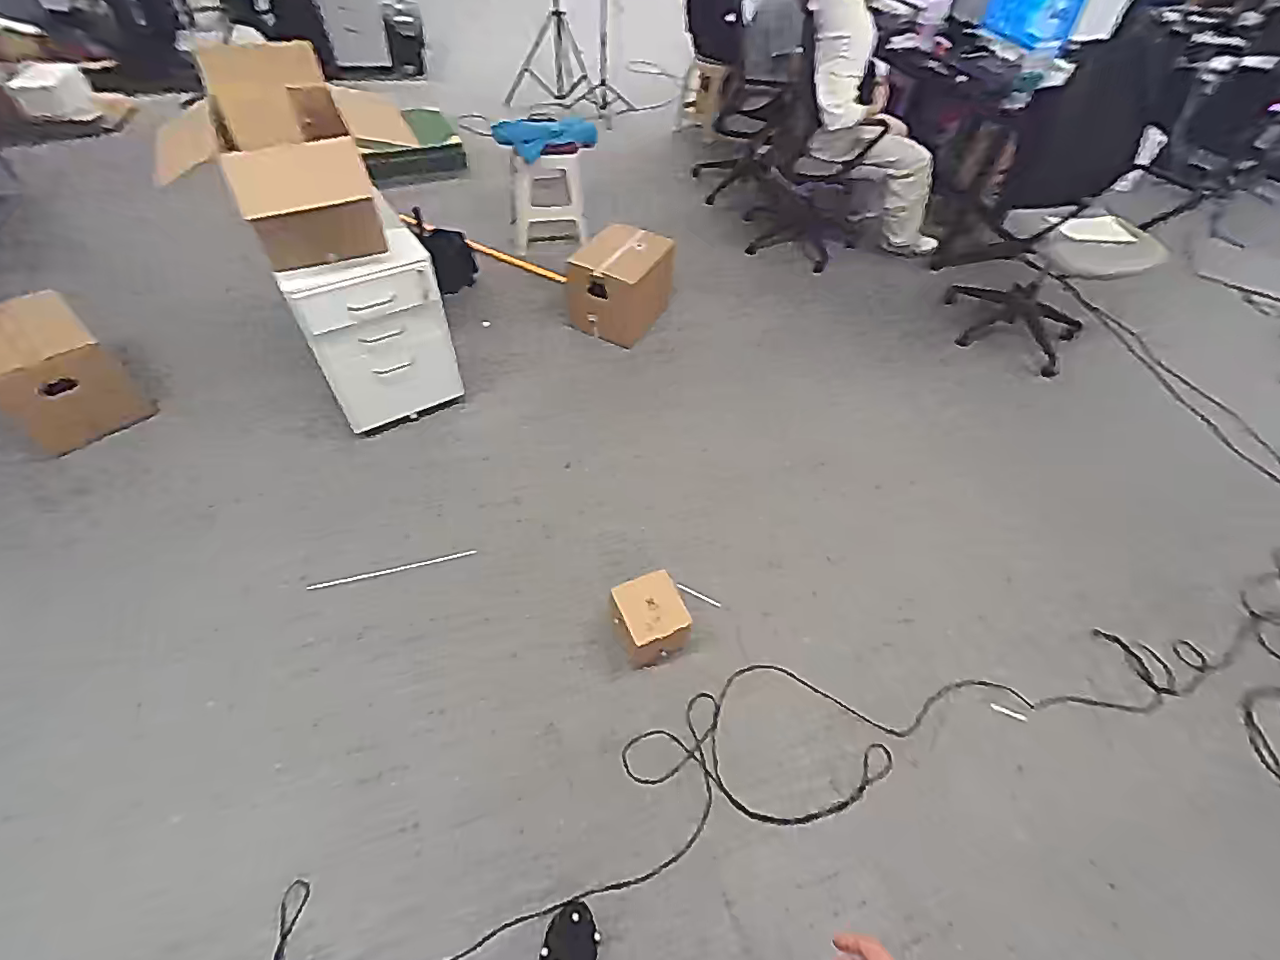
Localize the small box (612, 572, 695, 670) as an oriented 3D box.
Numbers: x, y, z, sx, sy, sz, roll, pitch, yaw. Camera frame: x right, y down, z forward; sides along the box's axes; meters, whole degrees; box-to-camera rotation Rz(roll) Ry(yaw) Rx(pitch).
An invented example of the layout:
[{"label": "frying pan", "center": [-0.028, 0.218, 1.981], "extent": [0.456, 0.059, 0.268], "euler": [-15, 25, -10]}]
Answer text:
[{"label": "small box", "center": [0.028, 0.384, 1.468], "extent": [0.168, 0.176, 0.179], "euler": [-18, 56, -18]}]
